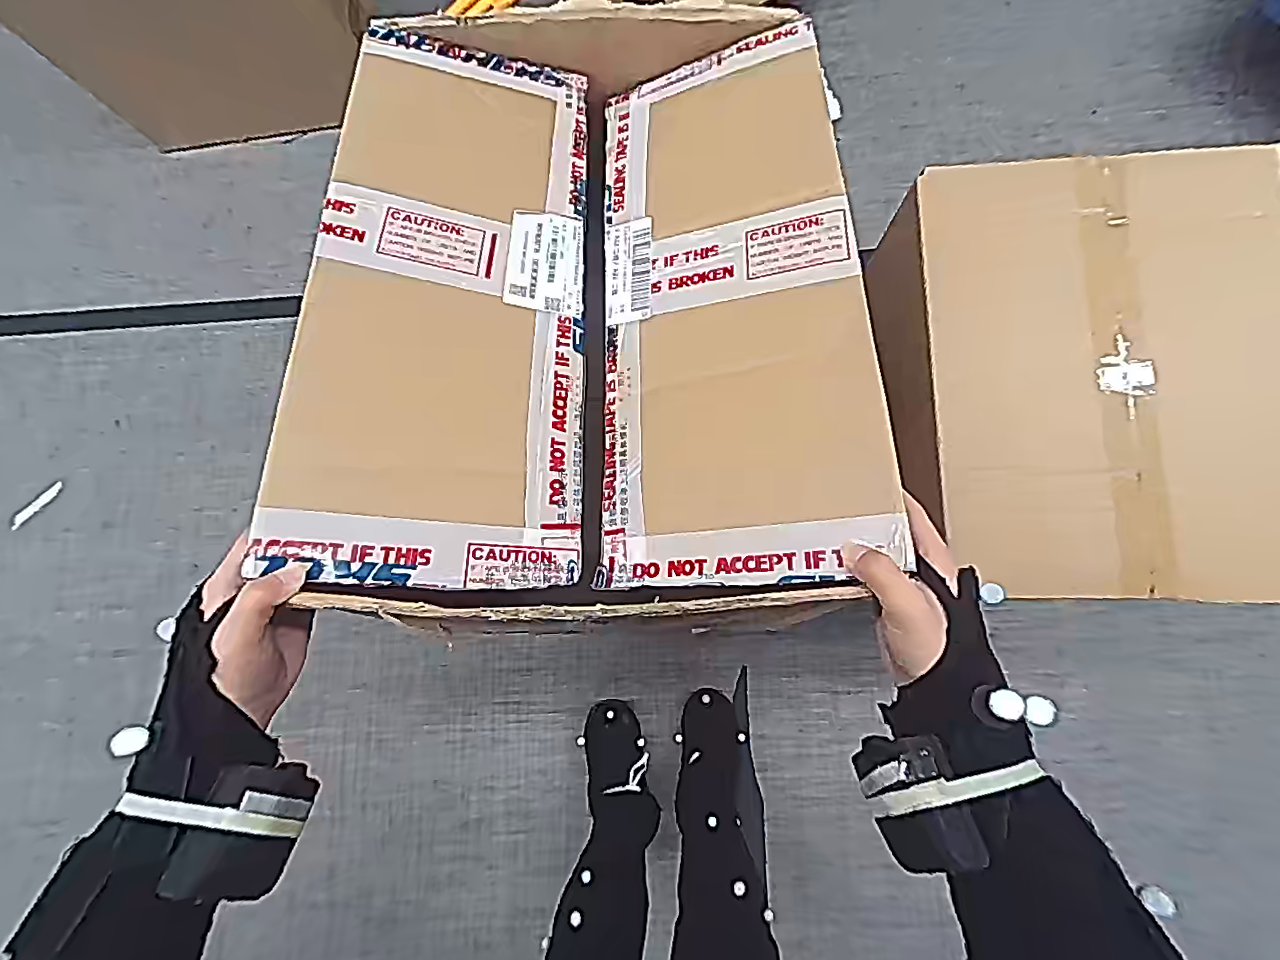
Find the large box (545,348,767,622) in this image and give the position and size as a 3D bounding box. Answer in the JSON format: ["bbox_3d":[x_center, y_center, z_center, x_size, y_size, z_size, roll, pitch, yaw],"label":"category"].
[{"bbox_3d":[0.024,0.019,0.960,0.320,0.320,0.408,-4,83,3],"label":"large box"}]
